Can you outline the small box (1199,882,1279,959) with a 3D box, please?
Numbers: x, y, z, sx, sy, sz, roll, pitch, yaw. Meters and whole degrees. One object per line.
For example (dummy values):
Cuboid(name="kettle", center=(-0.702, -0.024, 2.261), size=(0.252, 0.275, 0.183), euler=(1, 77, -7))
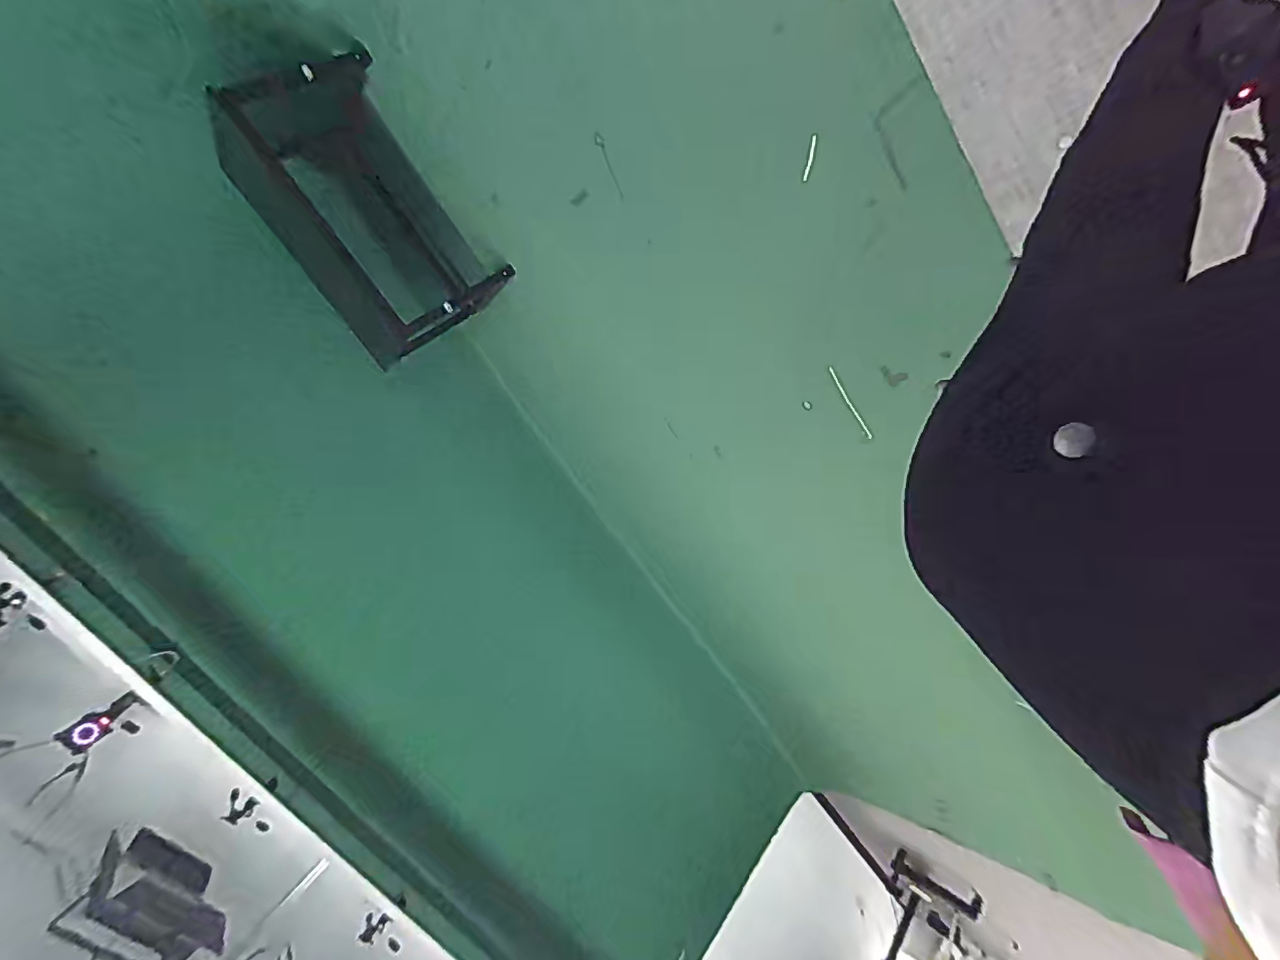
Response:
Cuboid(name="small box", center=(1.345, 1.020, 1.153), size=(0.179, 0.176, 0.168), euler=(52, 150, -13))
